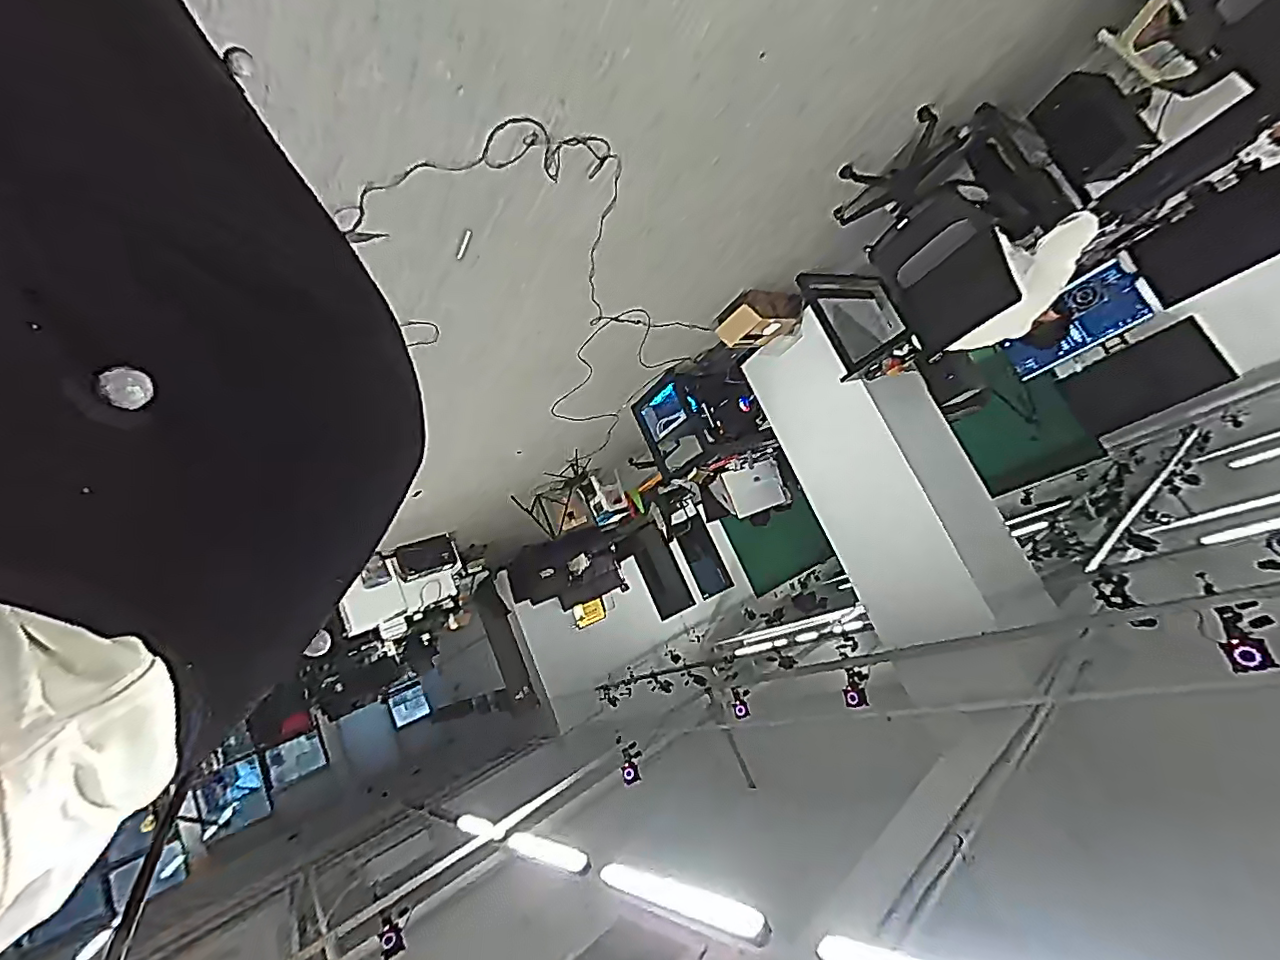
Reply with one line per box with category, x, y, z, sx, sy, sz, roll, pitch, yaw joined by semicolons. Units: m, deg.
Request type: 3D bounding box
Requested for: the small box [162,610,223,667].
small box;-1.832;0.646;2.217;0.168;0.176;0.179;-14;165;-41
